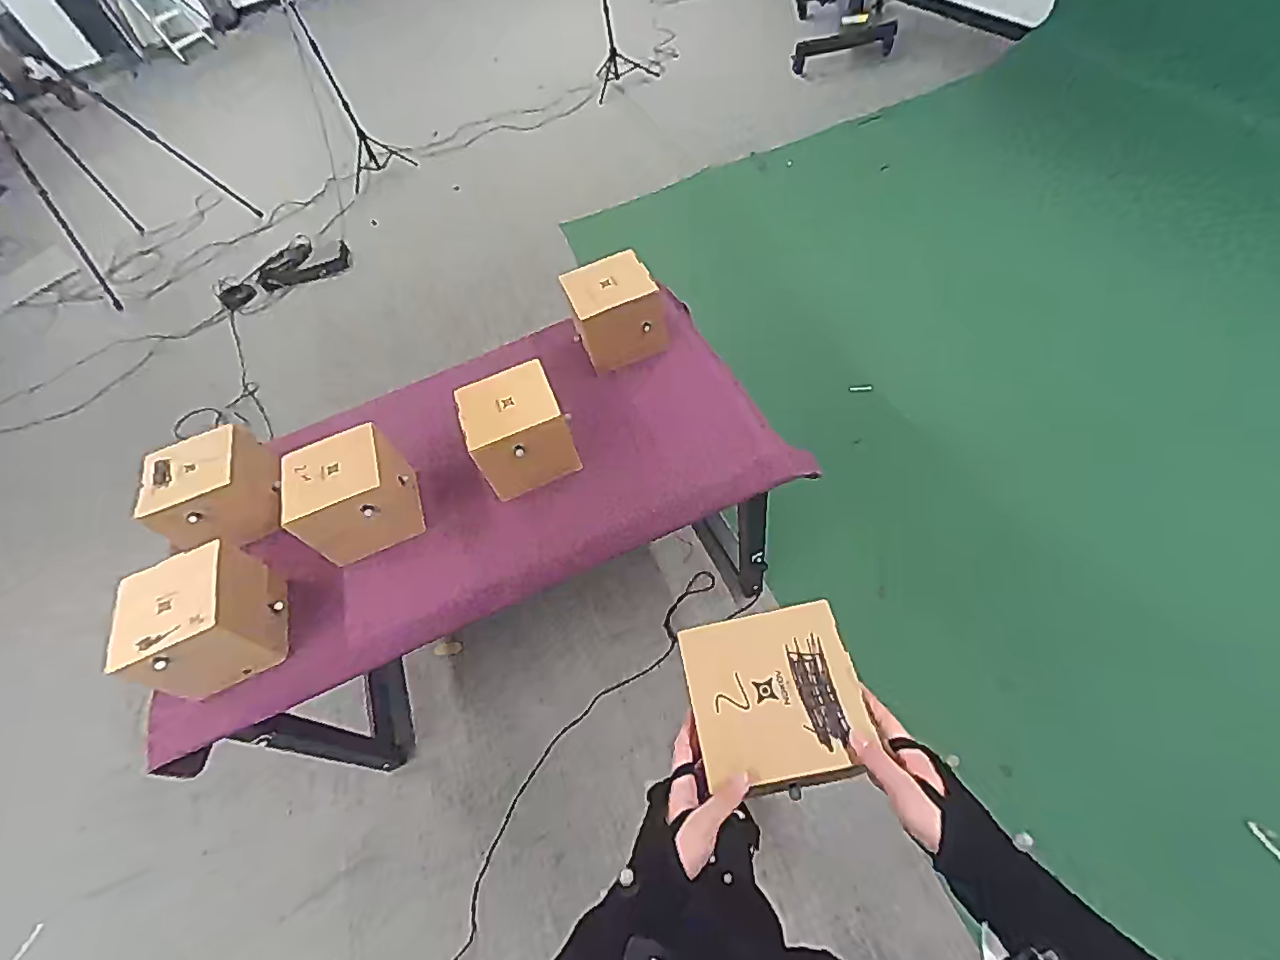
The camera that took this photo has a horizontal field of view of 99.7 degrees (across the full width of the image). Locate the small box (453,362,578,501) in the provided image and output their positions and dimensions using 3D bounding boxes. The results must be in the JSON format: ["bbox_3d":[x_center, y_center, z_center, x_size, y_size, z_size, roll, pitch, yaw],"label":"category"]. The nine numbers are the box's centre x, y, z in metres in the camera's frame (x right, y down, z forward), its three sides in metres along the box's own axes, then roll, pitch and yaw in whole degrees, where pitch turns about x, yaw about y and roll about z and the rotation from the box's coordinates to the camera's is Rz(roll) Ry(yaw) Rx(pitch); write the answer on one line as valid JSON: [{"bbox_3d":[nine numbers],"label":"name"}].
[{"bbox_3d":[-0.231,-0.090,1.043,0.179,0.176,0.168,-23,56,-4],"label":"small box"}]

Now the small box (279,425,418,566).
[{"bbox_3d":[-0.536,0.033,1.013,0.179,0.176,0.168,-23,55,-5],"label":"small box"}]

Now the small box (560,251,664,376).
[{"bbox_3d":[-0.055,-0.362,1.189,0.179,0.176,0.168,-22,57,-4],"label":"small box"}]

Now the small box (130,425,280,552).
[{"bbox_3d":[-0.840,0.028,1.072,0.179,0.176,0.168,-23,56,-6],"label":"small box"}]

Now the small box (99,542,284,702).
[{"bbox_3d":[-0.731,0.241,0.907,0.168,0.176,0.179,-25,54,-7],"label":"small box"}]
